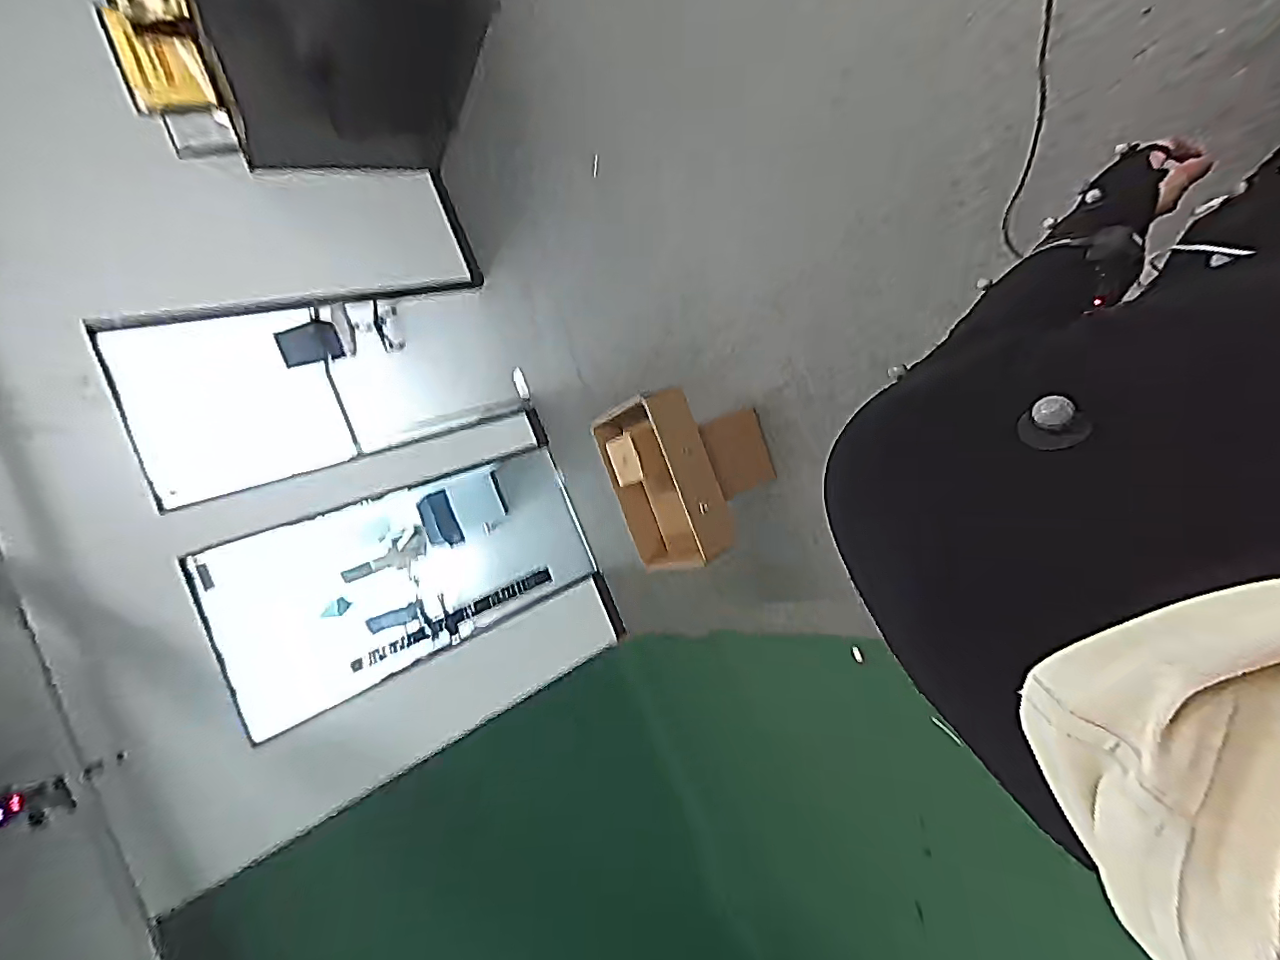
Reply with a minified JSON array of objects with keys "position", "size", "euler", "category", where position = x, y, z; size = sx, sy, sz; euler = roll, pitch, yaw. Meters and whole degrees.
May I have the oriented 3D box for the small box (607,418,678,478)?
[{"position":[0.011,-0.117,2.002],"size":[0.179,0.176,0.168],"euler":[-17,94,56],"category":"small box"}]
